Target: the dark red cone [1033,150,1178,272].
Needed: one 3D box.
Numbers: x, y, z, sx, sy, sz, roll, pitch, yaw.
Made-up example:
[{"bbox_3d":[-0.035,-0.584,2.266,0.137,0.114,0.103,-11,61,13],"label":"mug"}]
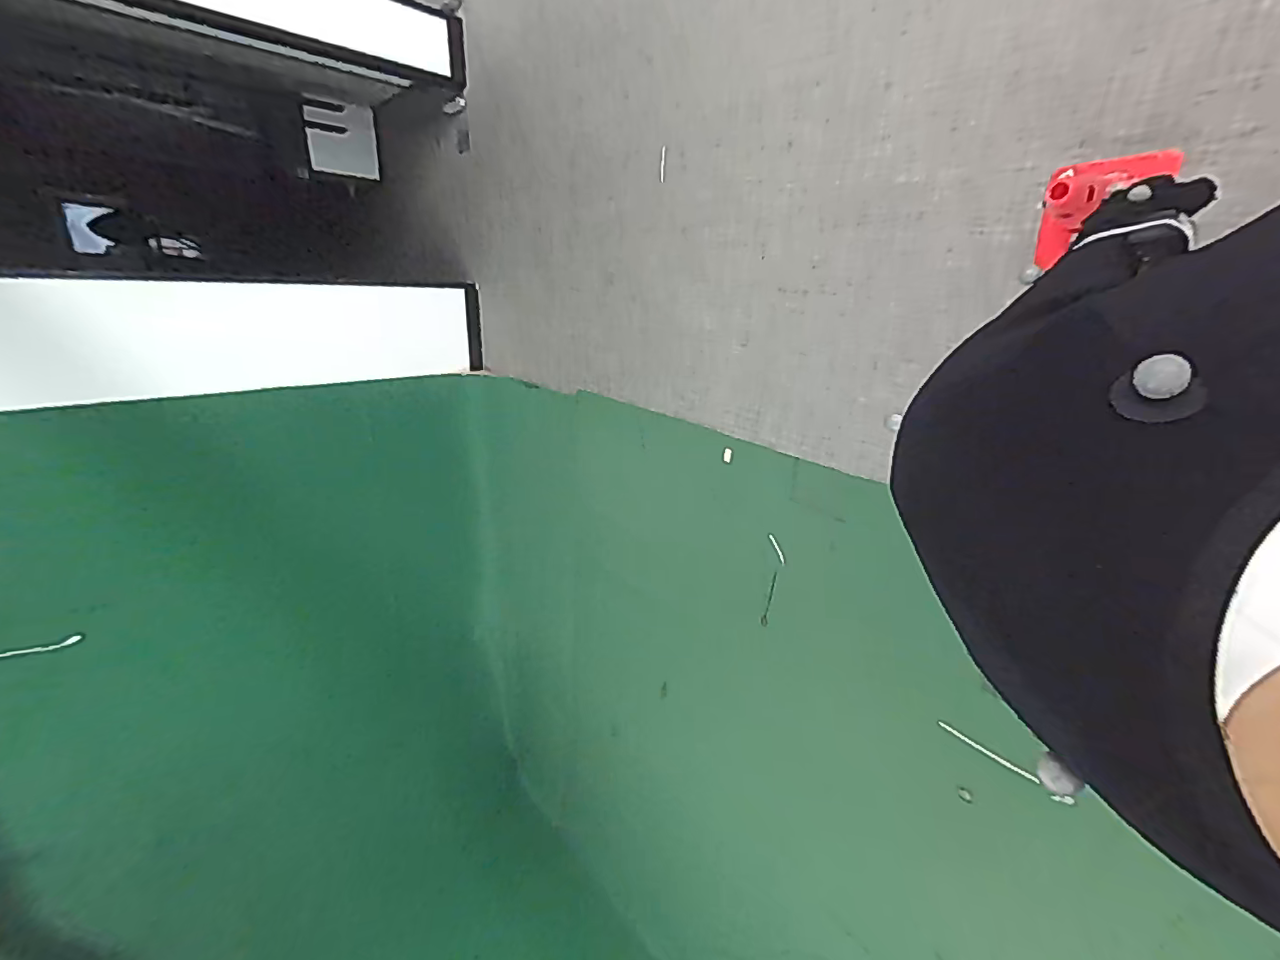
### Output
[{"bbox_3d":[0.793,-0.488,0.966,0.202,0.394,0.201,16,115,45],"label":"dark red cone"}]
